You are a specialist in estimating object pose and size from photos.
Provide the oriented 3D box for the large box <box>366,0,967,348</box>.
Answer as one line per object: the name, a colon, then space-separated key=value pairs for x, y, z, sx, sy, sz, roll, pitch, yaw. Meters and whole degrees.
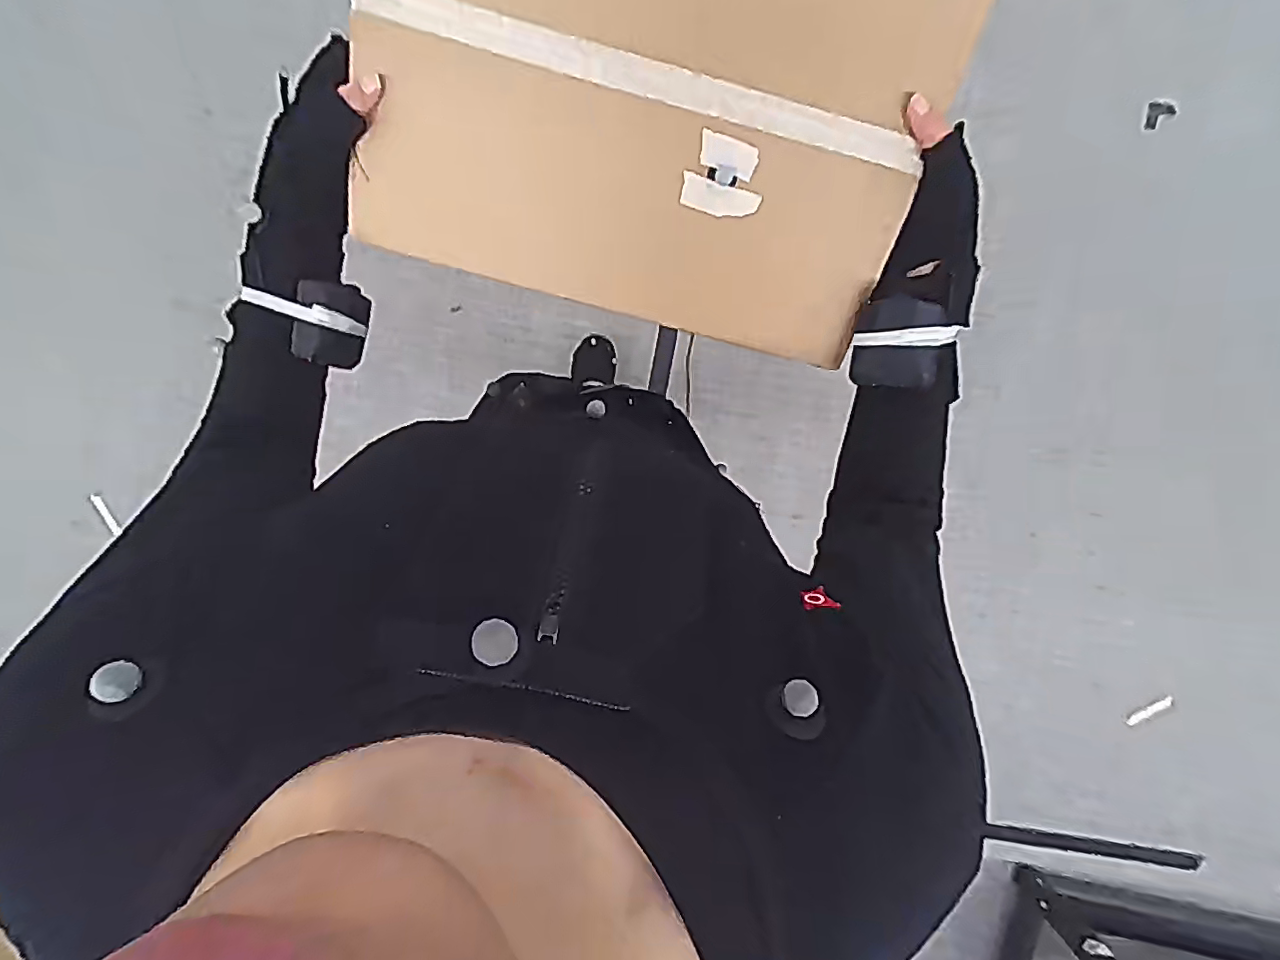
large box: x=0.009 y=-0.350 z=0.521 sx=0.408 sy=0.320 sz=0.320 roll=13 pitch=115 yaw=-5
